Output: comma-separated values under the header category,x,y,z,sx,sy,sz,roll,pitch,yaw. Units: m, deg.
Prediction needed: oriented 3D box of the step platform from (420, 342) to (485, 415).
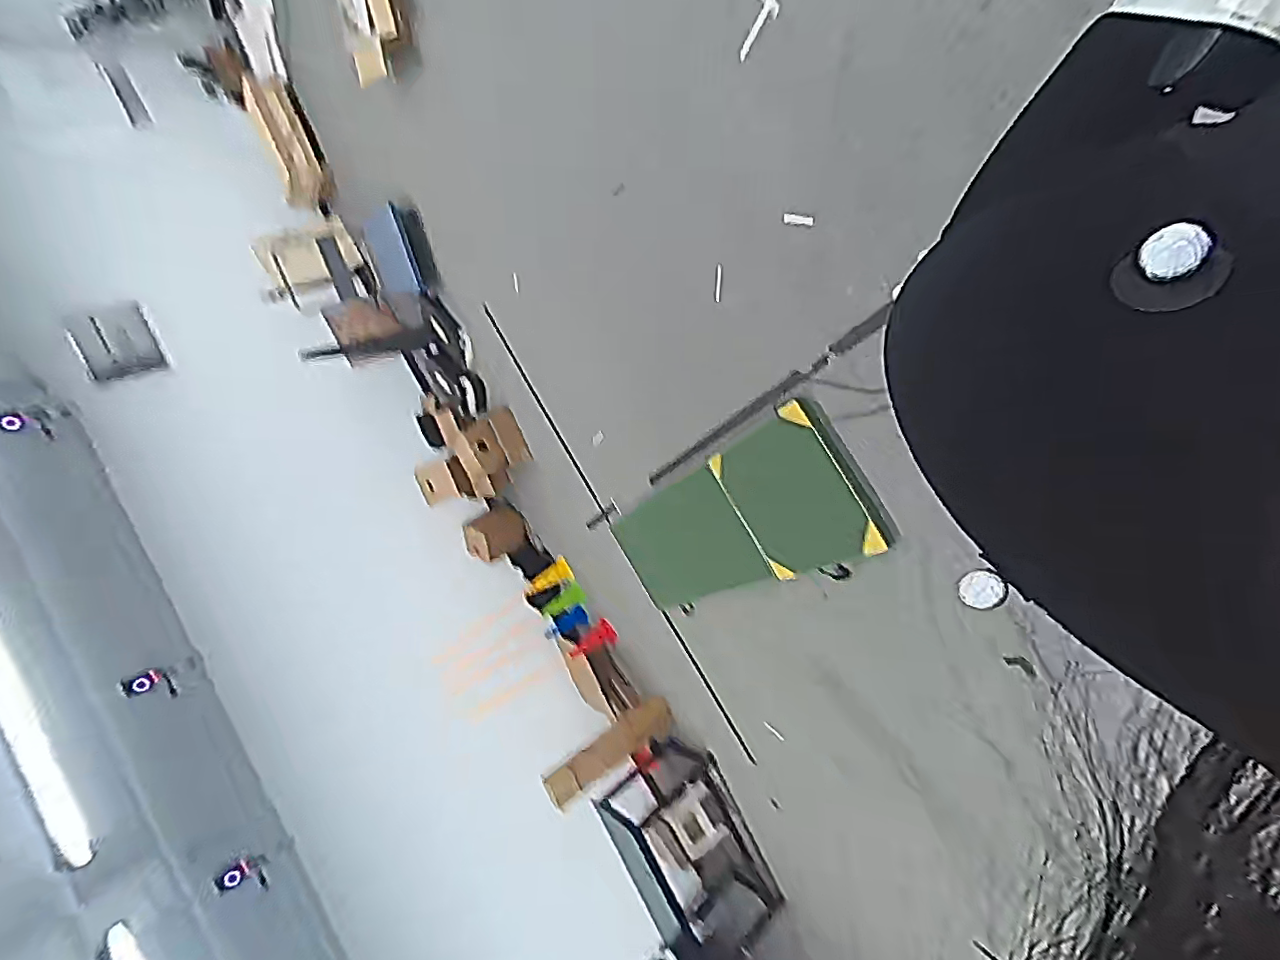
category,x,y,z,sx,sy,sz,roll,pitch,yaw
step platform,-1.500,-0.809,4.298,0.684,0.204,0.286,42,143,29
